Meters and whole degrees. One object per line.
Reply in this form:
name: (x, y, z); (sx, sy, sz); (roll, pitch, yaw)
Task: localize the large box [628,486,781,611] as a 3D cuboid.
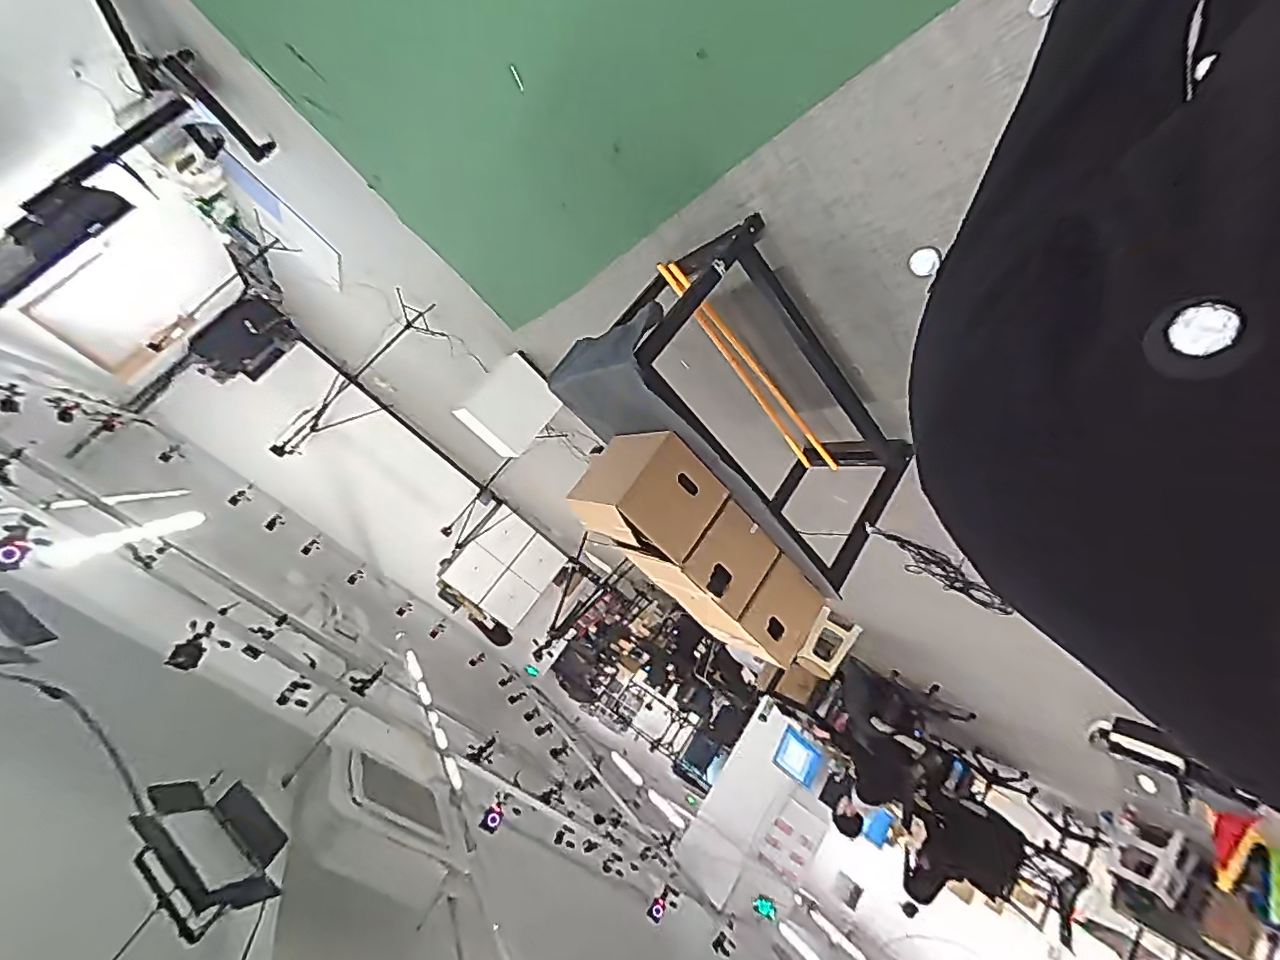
large box: (0.229, 0.235, 1.995); (0.320, 0.320, 0.408); (44, 160, -22)
